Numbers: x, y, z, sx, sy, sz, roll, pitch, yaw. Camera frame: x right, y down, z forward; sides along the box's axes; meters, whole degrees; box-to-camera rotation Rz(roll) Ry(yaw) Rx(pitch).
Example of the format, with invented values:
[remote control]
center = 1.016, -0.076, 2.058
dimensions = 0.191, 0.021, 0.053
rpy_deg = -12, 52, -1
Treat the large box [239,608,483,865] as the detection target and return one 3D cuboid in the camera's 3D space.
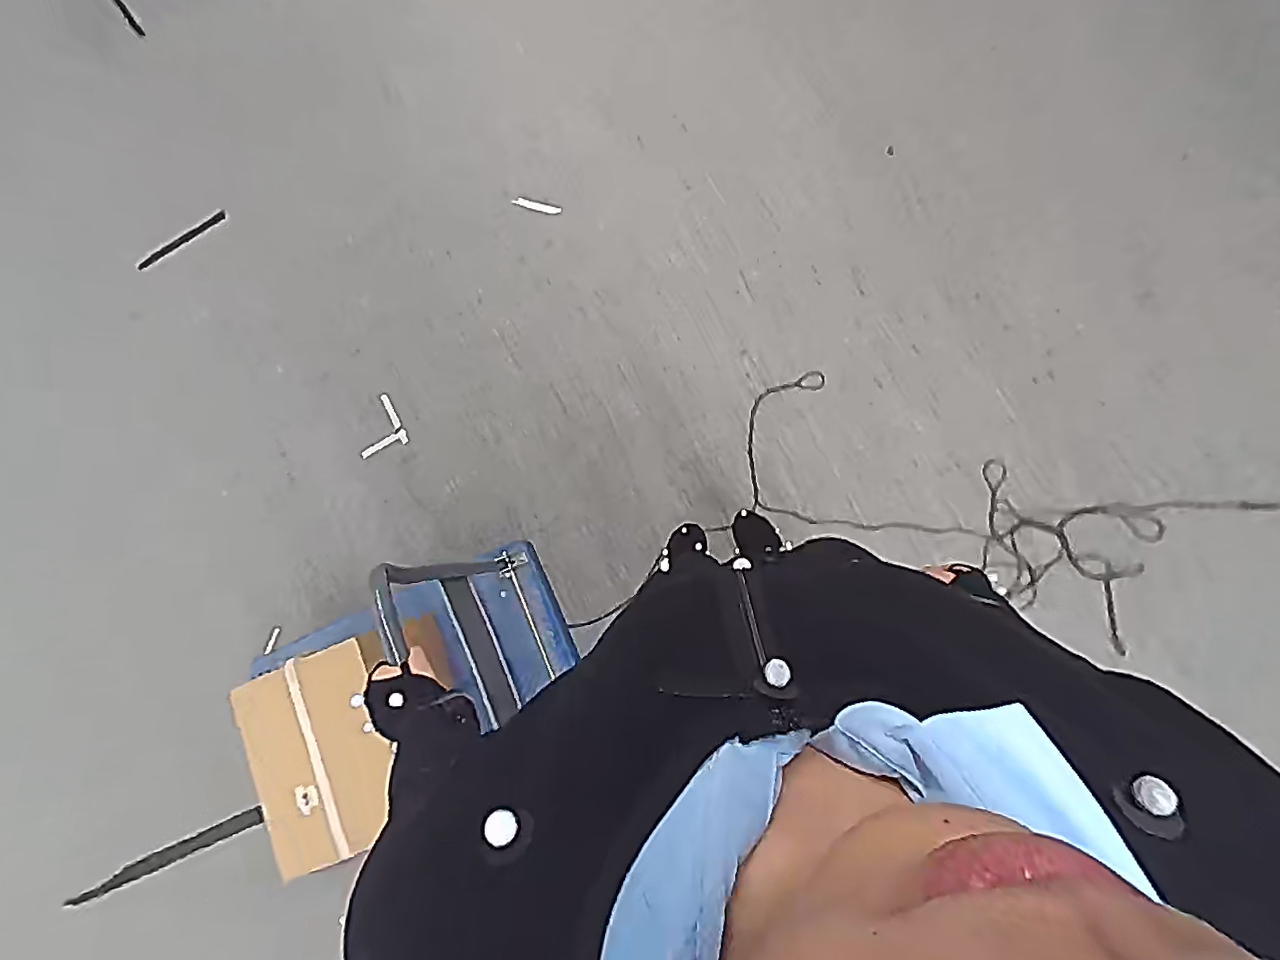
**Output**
[large box]
center = -0.625, 0.562, 1.263
dimensions = 0.320, 0.320, 0.408
rpy_deg = -23, 83, 6
